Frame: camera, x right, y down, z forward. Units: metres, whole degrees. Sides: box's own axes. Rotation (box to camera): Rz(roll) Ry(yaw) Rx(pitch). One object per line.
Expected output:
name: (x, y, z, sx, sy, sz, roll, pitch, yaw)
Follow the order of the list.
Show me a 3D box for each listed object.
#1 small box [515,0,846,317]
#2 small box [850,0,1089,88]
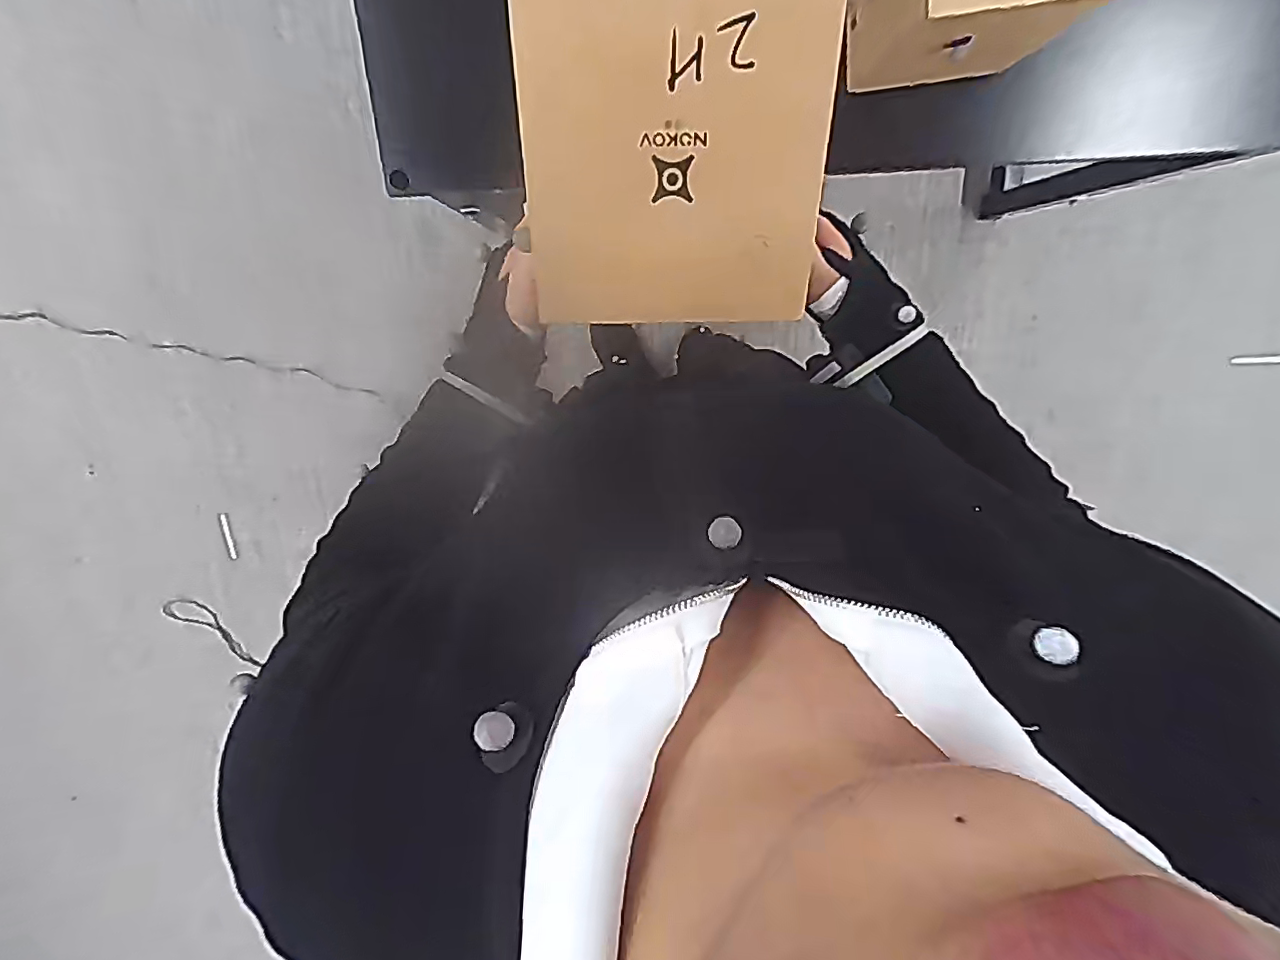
small box: (0.019, -0.217, 0.366, 0.168, 0.176, 0.179, -1, 118, -1)
small box: (0.313, -0.508, 0.517, 0.179, 0.176, 0.168, -7, 107, 2)
